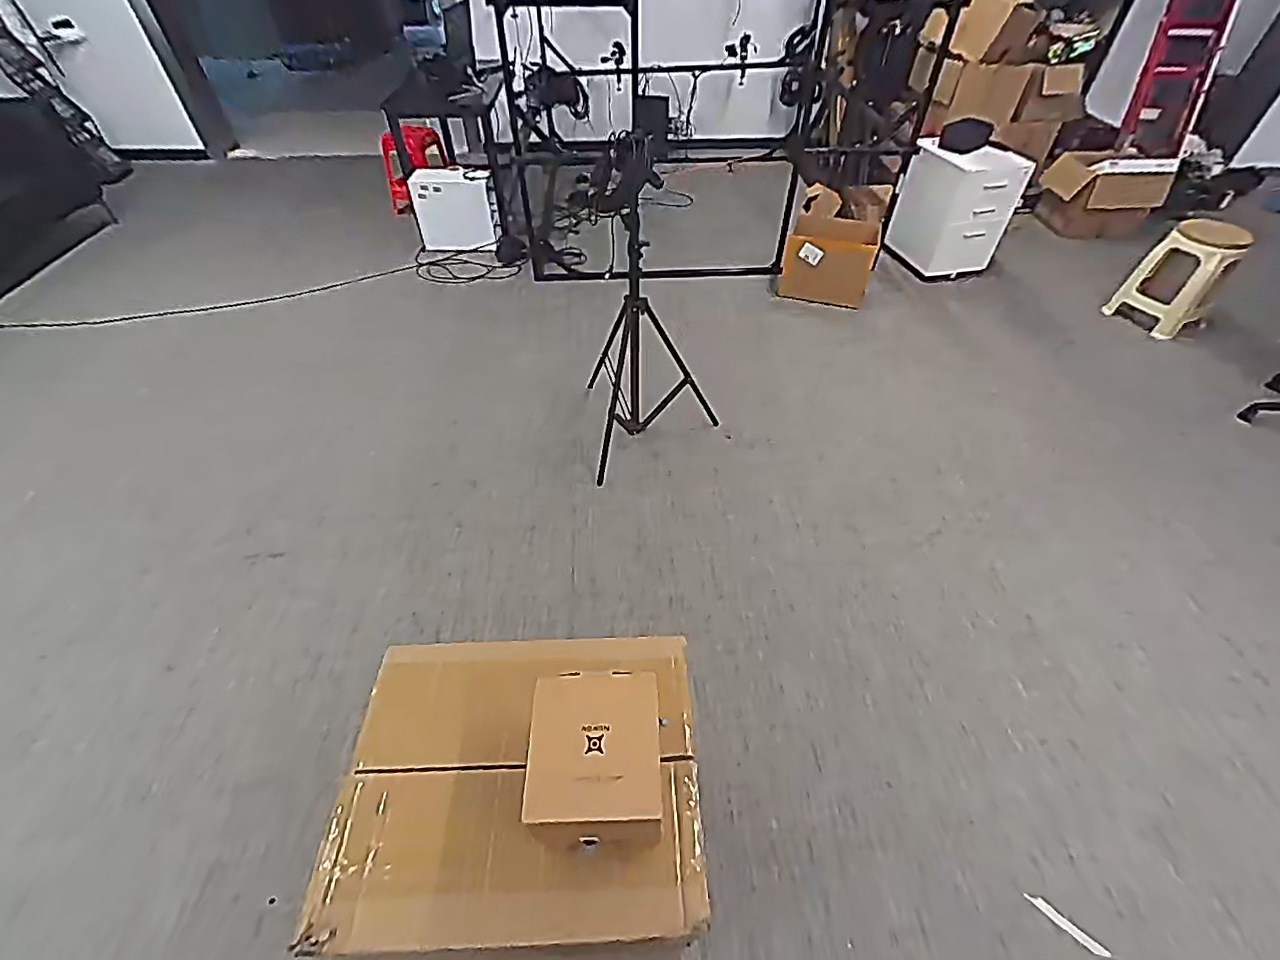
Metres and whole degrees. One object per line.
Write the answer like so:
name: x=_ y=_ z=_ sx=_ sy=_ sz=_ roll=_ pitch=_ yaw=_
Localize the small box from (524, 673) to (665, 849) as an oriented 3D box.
small box: x=-0.054 y=0.384 z=0.738 sx=0.168 sy=0.176 sz=0.179 roll=-3 pitch=49 yaw=0
